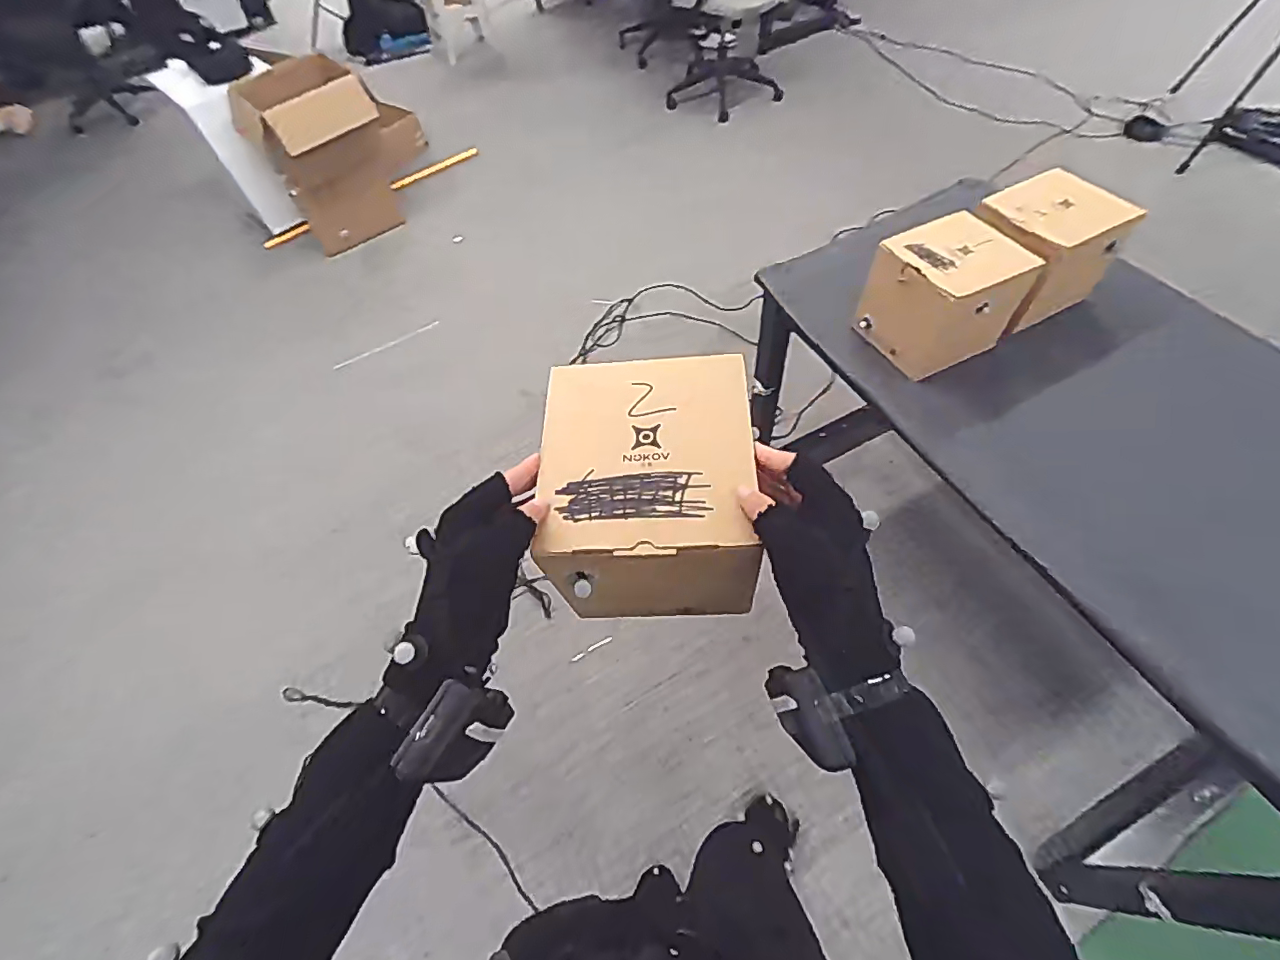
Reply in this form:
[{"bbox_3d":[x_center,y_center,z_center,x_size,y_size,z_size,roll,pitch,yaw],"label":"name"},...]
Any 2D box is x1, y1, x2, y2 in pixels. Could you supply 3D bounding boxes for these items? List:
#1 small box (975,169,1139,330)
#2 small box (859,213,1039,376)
[{"bbox_3d":[0.678,-0.395,0.937,0.179,0.176,0.168,-26,58,-11],"label":"small box"},{"bbox_3d":[0.488,-0.301,0.892,0.179,0.176,0.168,-24,58,-12],"label":"small box"}]
